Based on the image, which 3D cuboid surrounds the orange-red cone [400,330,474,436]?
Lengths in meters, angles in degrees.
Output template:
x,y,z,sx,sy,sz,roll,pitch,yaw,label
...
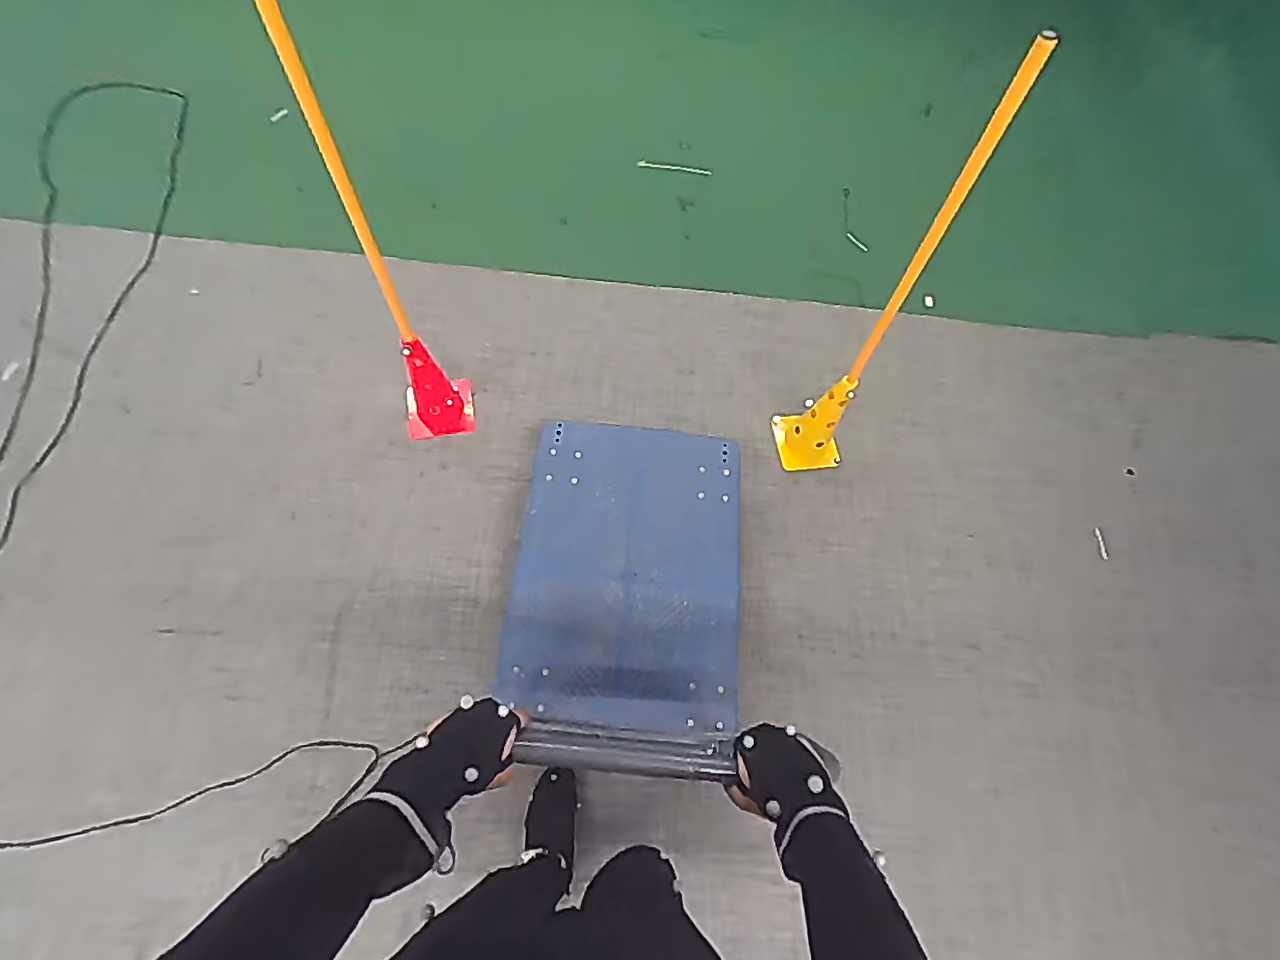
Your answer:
x,y,z,sx,sy,sz,roll,pitch,yaw,label
-0.618,-0.303,1.558,0.199,0.360,0.198,-9,67,-8,orange-red cone
